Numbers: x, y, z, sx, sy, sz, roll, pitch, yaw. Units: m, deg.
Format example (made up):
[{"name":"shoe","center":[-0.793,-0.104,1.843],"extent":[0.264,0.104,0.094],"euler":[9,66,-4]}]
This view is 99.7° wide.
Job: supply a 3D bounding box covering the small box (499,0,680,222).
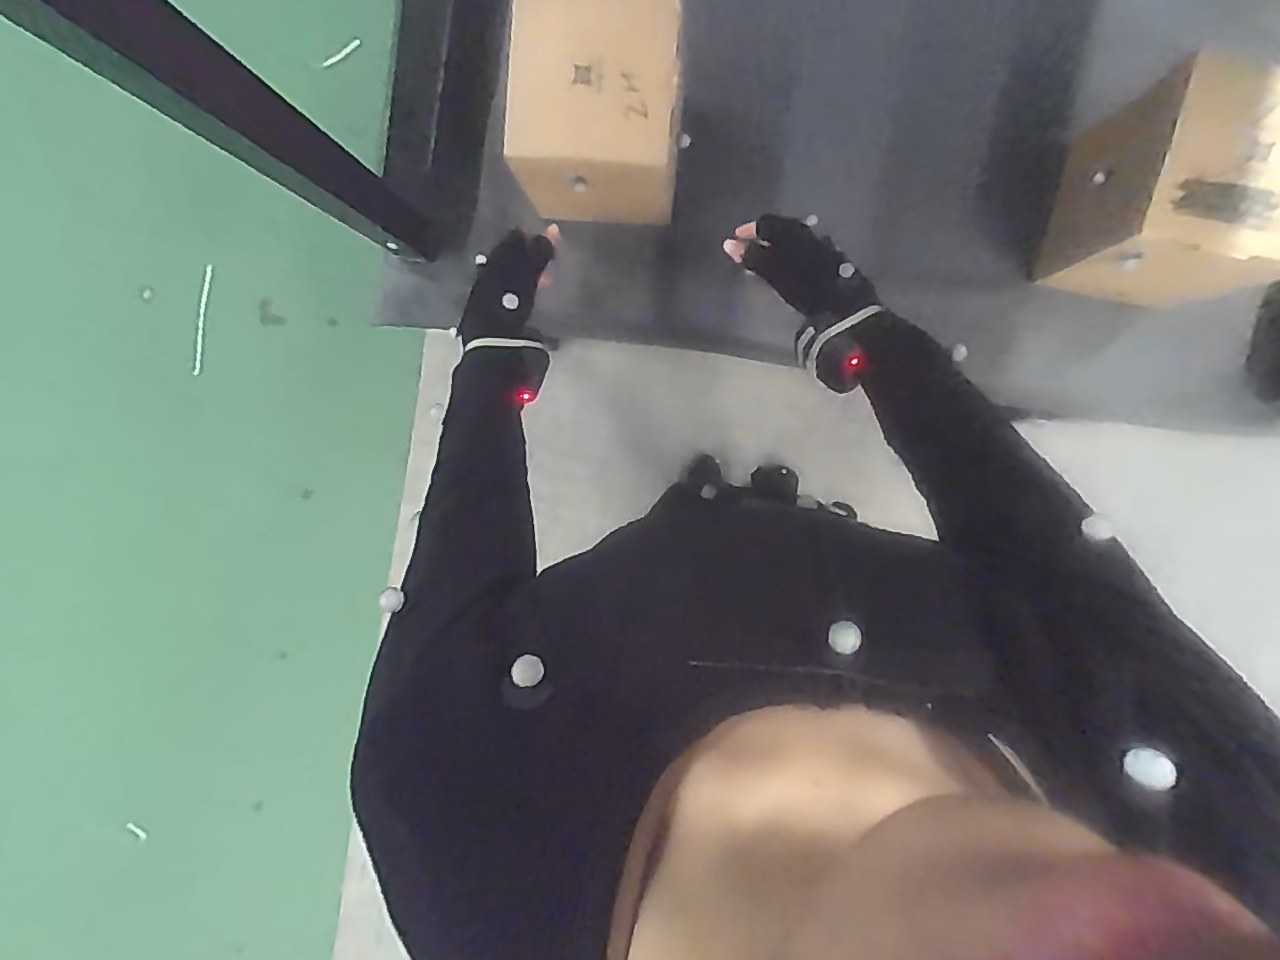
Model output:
[{"name":"small box","center":[-0.048,-0.420,0.634],"extent":[0.179,0.176,0.168],"euler":[6,97,3]}]
